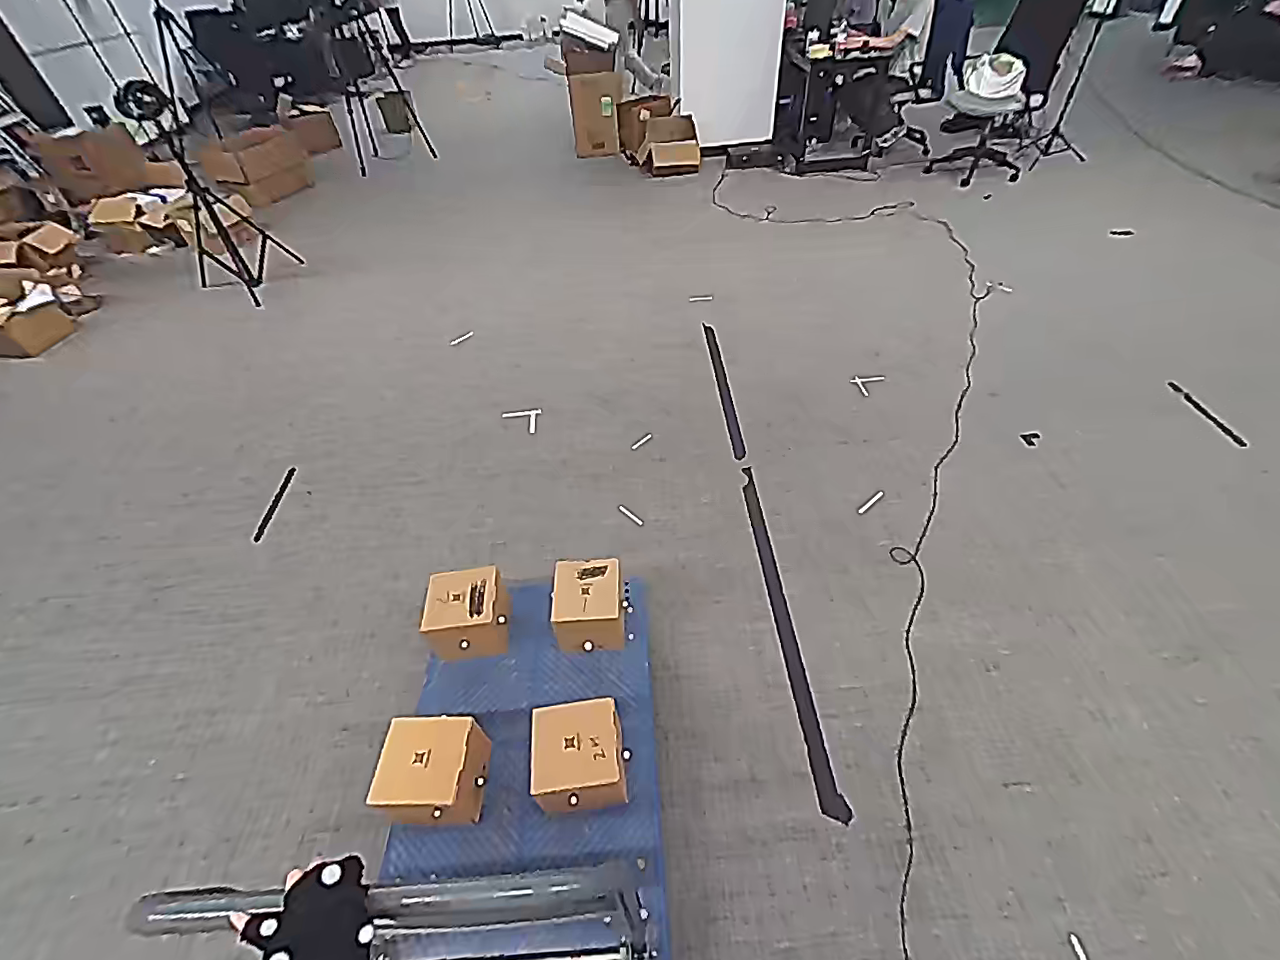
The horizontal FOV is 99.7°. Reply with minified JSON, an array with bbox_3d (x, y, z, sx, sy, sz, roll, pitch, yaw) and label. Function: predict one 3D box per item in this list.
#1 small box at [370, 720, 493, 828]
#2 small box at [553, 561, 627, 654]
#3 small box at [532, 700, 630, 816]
[{"bbox_3d":[-0.430,0.625,1.147,0.179,0.176,0.168,-2,45,2],"label":"small box"},{"bbox_3d":[-0.123,0.331,1.401,0.168,0.176,0.179,-4,47,2],"label":"small box"},{"bbox_3d":[-0.122,0.592,1.146,0.179,0.176,0.168,-8,46,-1],"label":"small box"}]
